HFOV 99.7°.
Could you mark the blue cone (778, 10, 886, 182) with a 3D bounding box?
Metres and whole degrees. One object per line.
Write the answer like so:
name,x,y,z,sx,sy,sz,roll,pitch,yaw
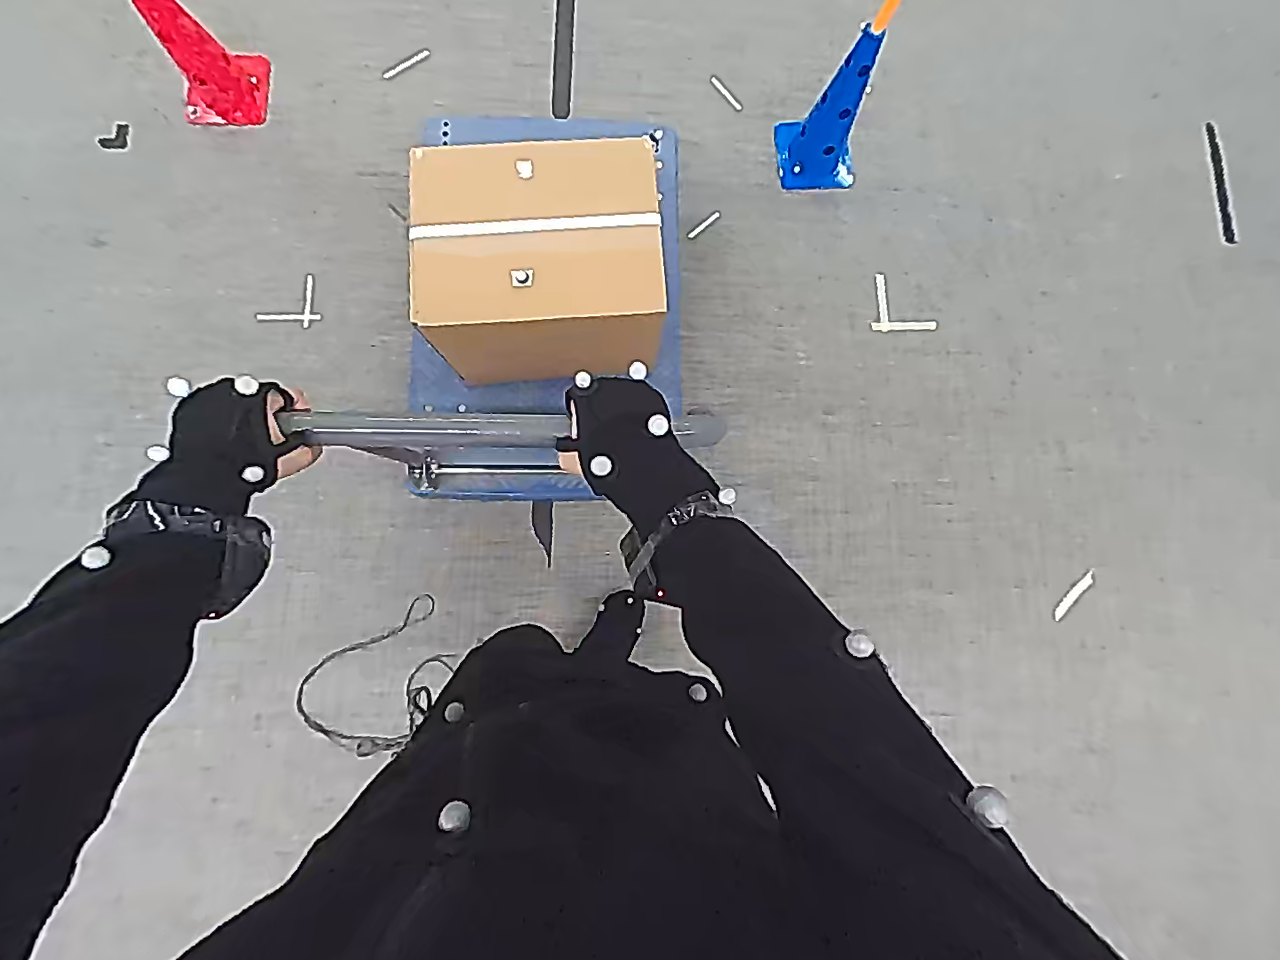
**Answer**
blue cone,0.479,-0.910,1.287,0.193,0.380,0.192,-3,82,-3
